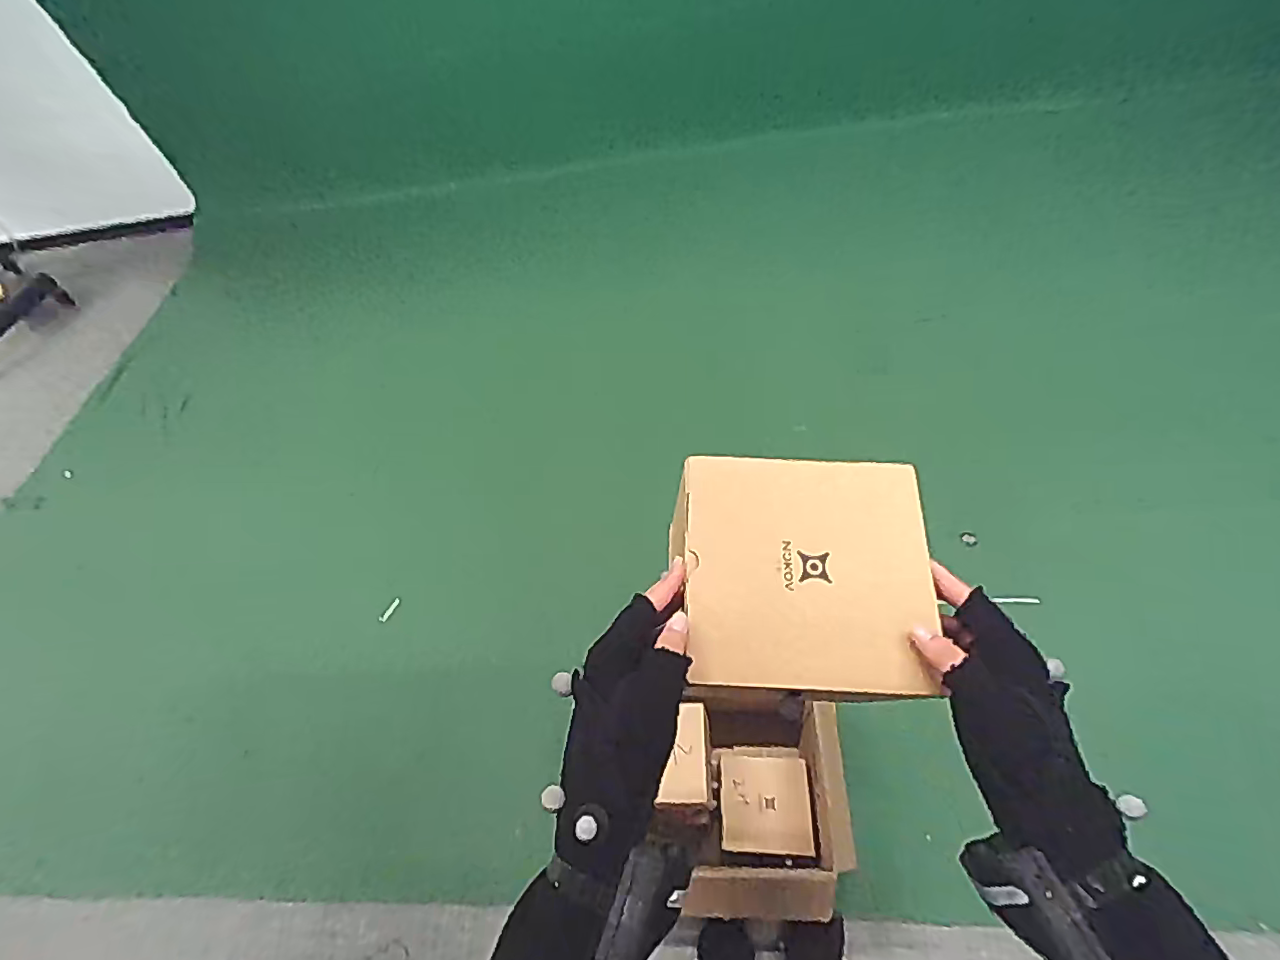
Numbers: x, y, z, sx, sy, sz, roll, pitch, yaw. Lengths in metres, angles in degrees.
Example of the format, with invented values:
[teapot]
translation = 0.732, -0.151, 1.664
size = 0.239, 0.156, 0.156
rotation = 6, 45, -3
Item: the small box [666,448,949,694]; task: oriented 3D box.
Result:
[small box]
translation = 0.112, 0.084, 0.446
size = 0.179, 0.176, 0.168
rotation = 0, 67, 2
